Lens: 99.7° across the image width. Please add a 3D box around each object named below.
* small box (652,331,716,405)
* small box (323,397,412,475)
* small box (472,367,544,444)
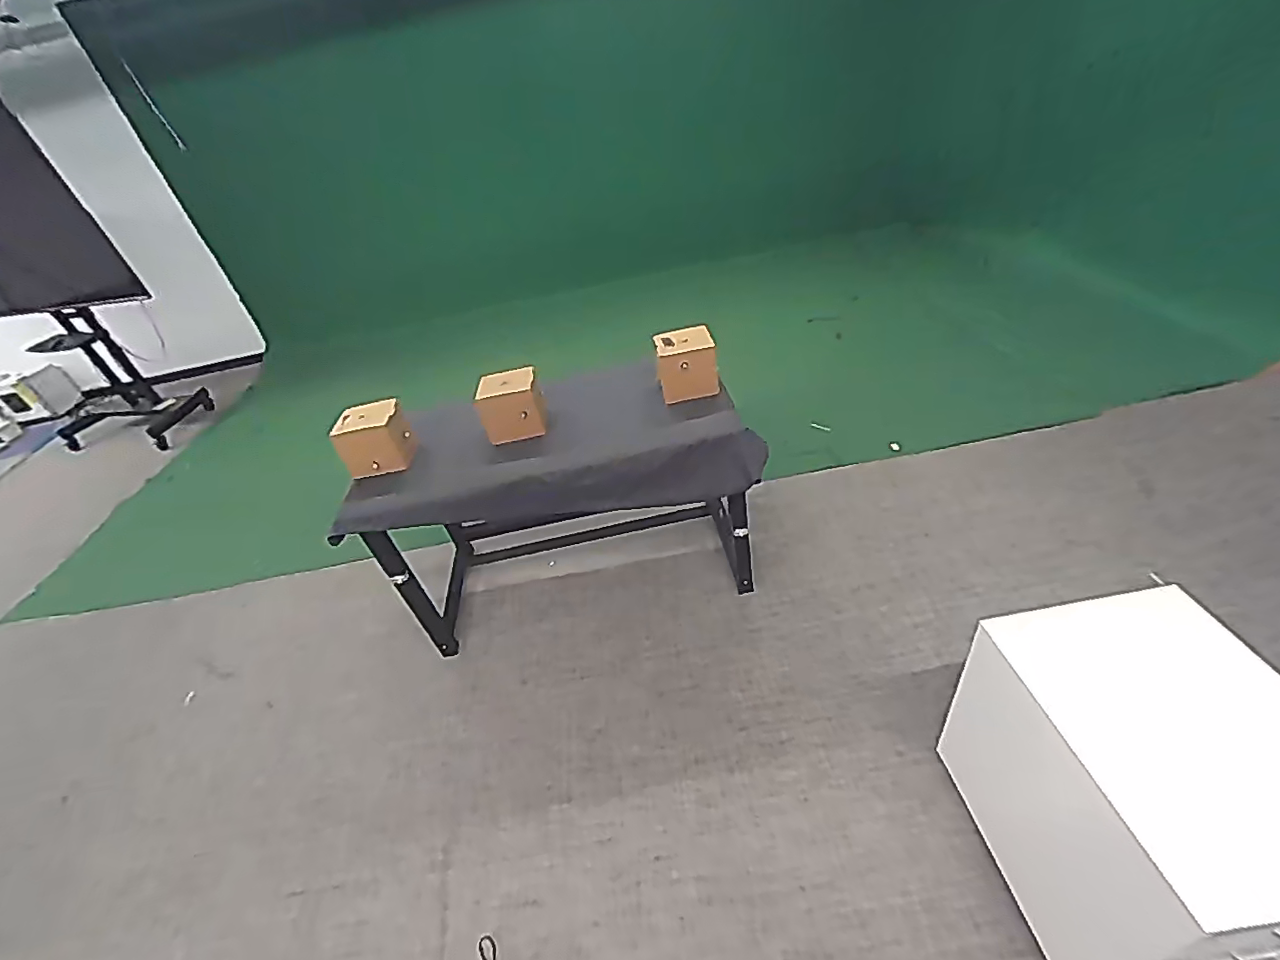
[{"bbox_3d":[0.142,-0.357,1.735,0.179,0.176,0.168,-9,37,1],"label":"small box"},{"bbox_3d":[-0.838,-0.137,1.686,0.179,0.176,0.168,-9,36,-1],"label":"small box"},{"bbox_3d":[-0.410,-0.235,1.717,0.179,0.176,0.168,-11,35,1],"label":"small box"}]
